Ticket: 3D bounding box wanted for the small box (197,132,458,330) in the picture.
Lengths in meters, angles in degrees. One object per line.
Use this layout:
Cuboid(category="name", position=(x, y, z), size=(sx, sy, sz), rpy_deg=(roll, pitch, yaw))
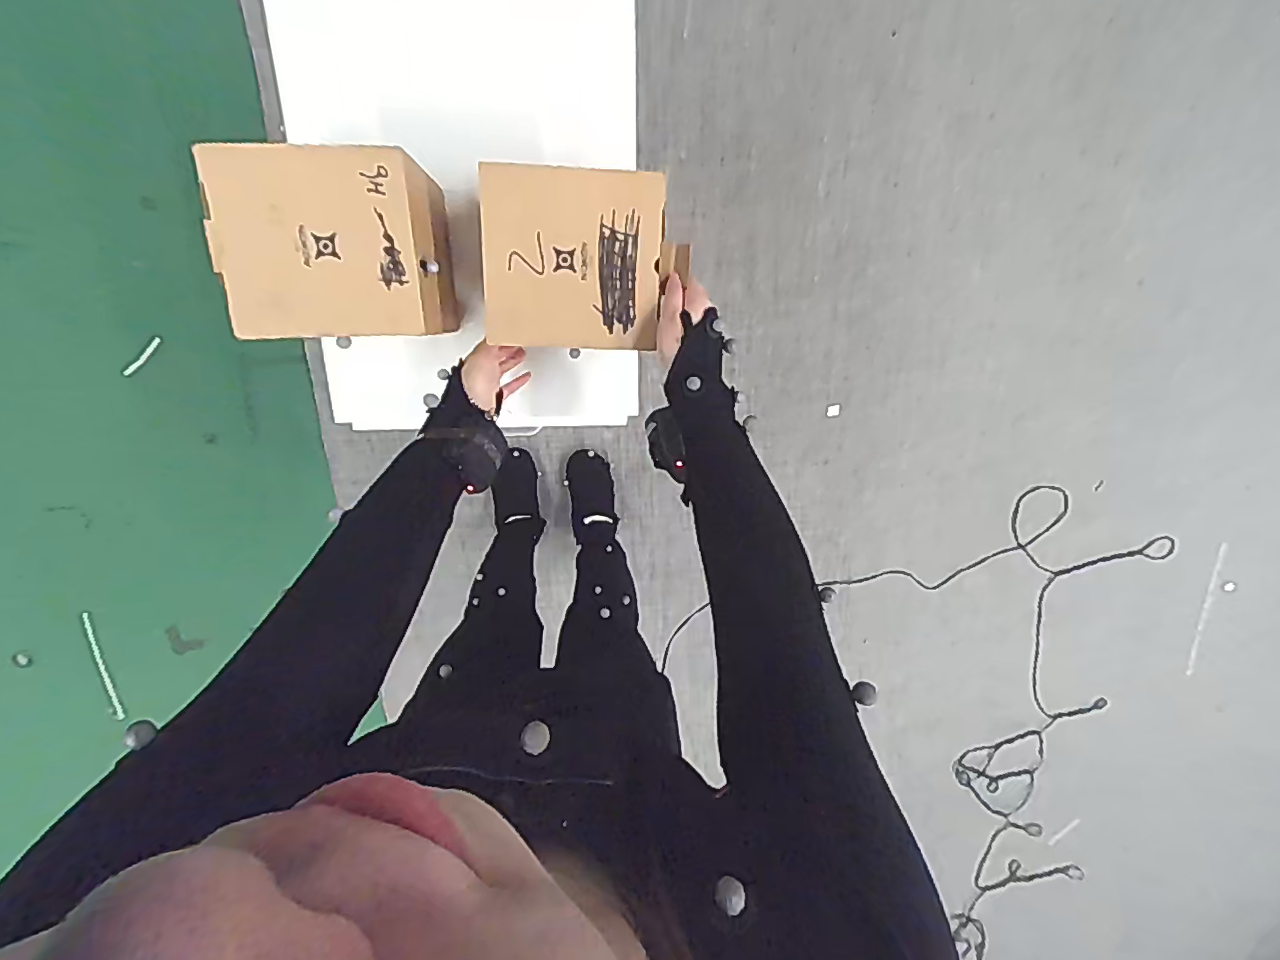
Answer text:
Cuboid(category="small box", position=(-0.305, -0.245, 0.571), size=(0.179, 0.176, 0.168), rpy_deg=(-3, 106, -7))
